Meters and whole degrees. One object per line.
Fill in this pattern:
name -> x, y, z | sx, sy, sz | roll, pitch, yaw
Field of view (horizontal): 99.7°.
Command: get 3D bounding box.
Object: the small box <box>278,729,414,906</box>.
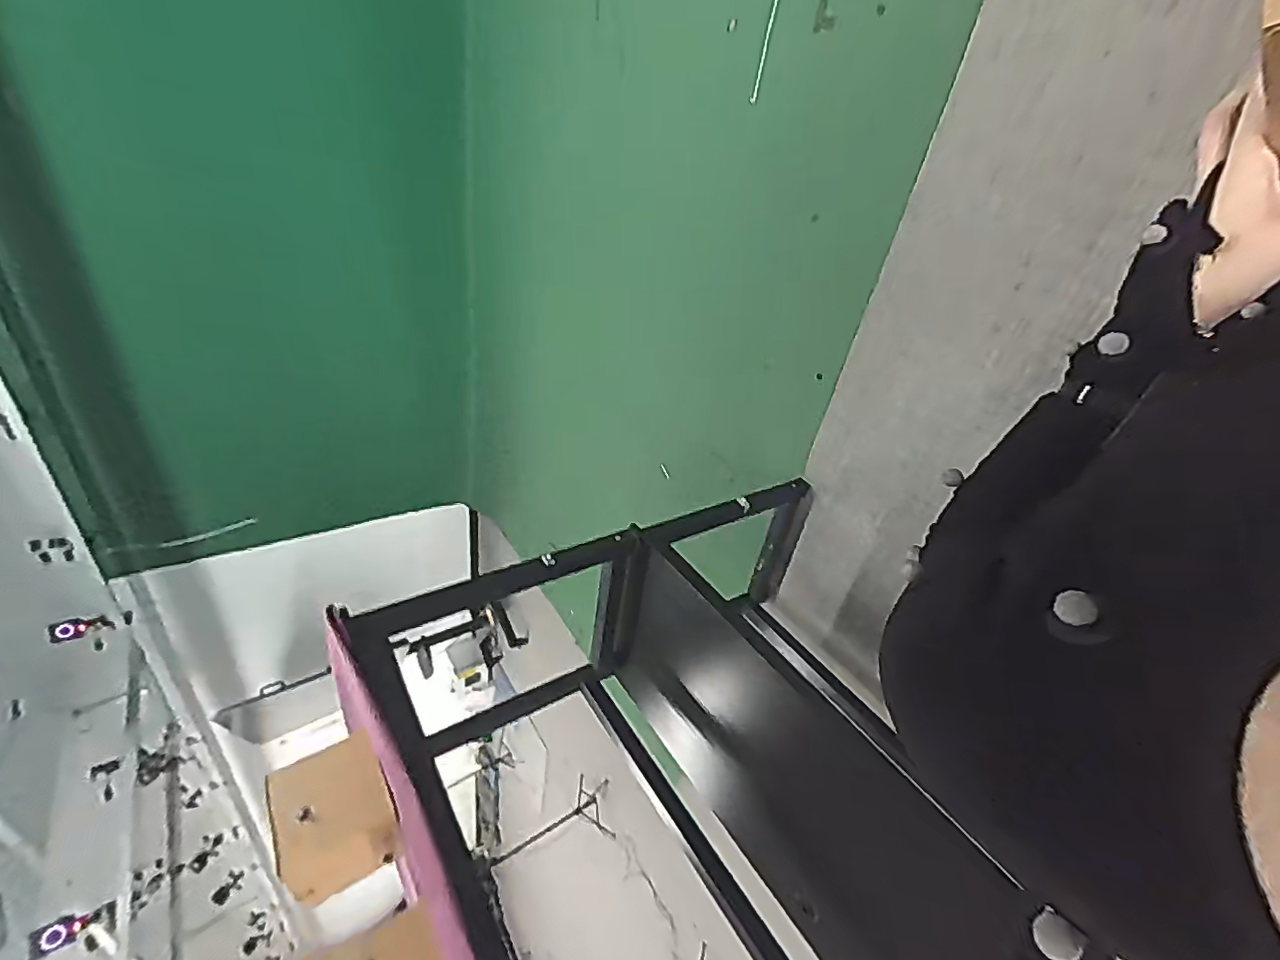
small box -> -0.507, 0.584, 0.952 | 0.179, 0.176, 0.168 | 43, 137, 39

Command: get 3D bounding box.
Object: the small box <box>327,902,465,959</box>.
small box -> -0.317, 0.724, 0.732 | 0.179, 0.176, 0.168 | 39, 133, 41
